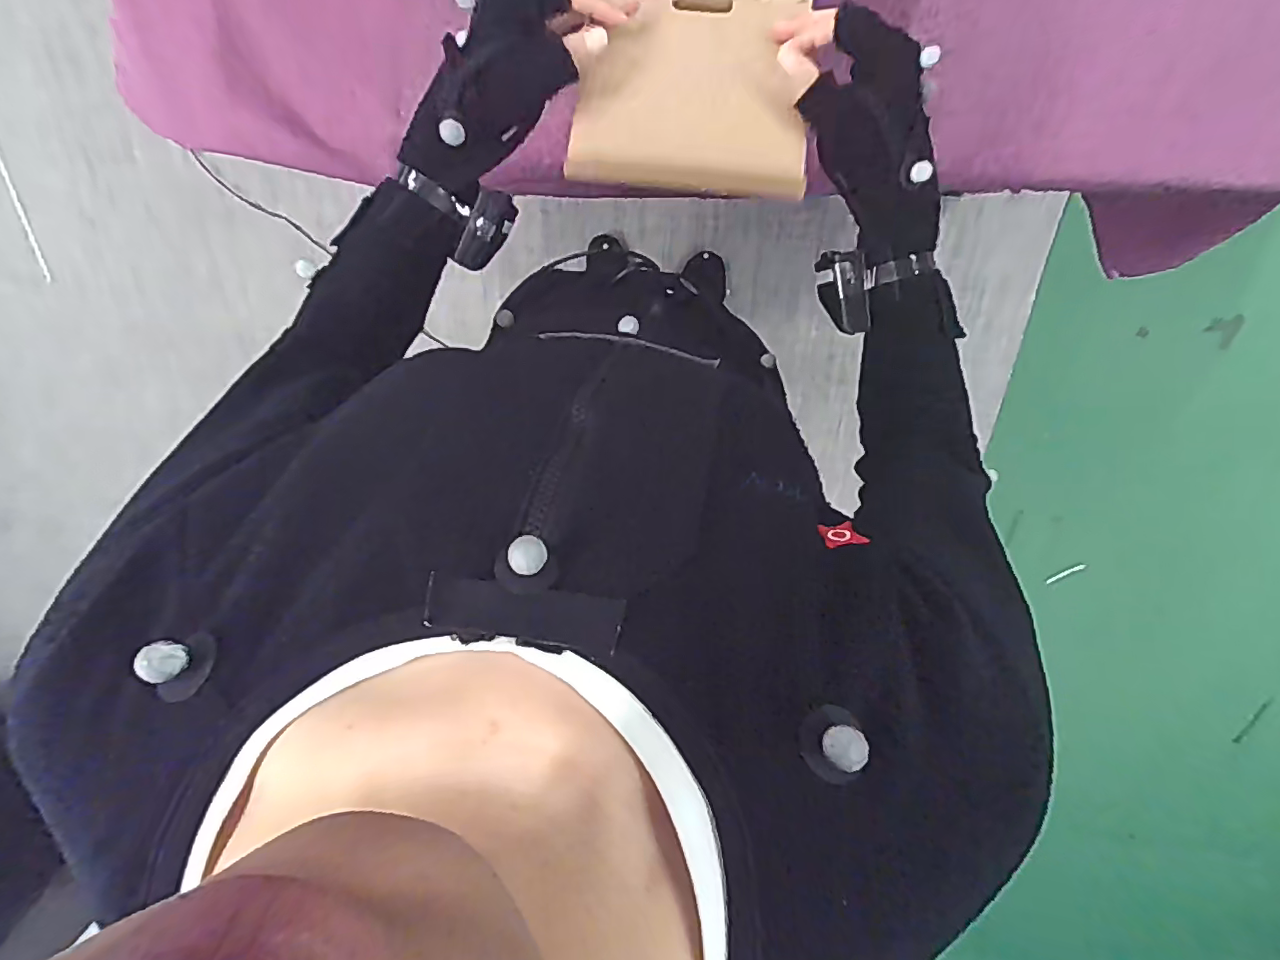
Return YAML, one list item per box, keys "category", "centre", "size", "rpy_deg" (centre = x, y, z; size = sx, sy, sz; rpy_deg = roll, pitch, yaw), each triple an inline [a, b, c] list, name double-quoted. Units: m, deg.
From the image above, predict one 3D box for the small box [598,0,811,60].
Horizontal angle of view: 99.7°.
- category: "small box"
  centre: [0.060, -0.466, 0.433]
  size: [0.168, 0.176, 0.179]
  rpy_deg: [6, 115, 2]
